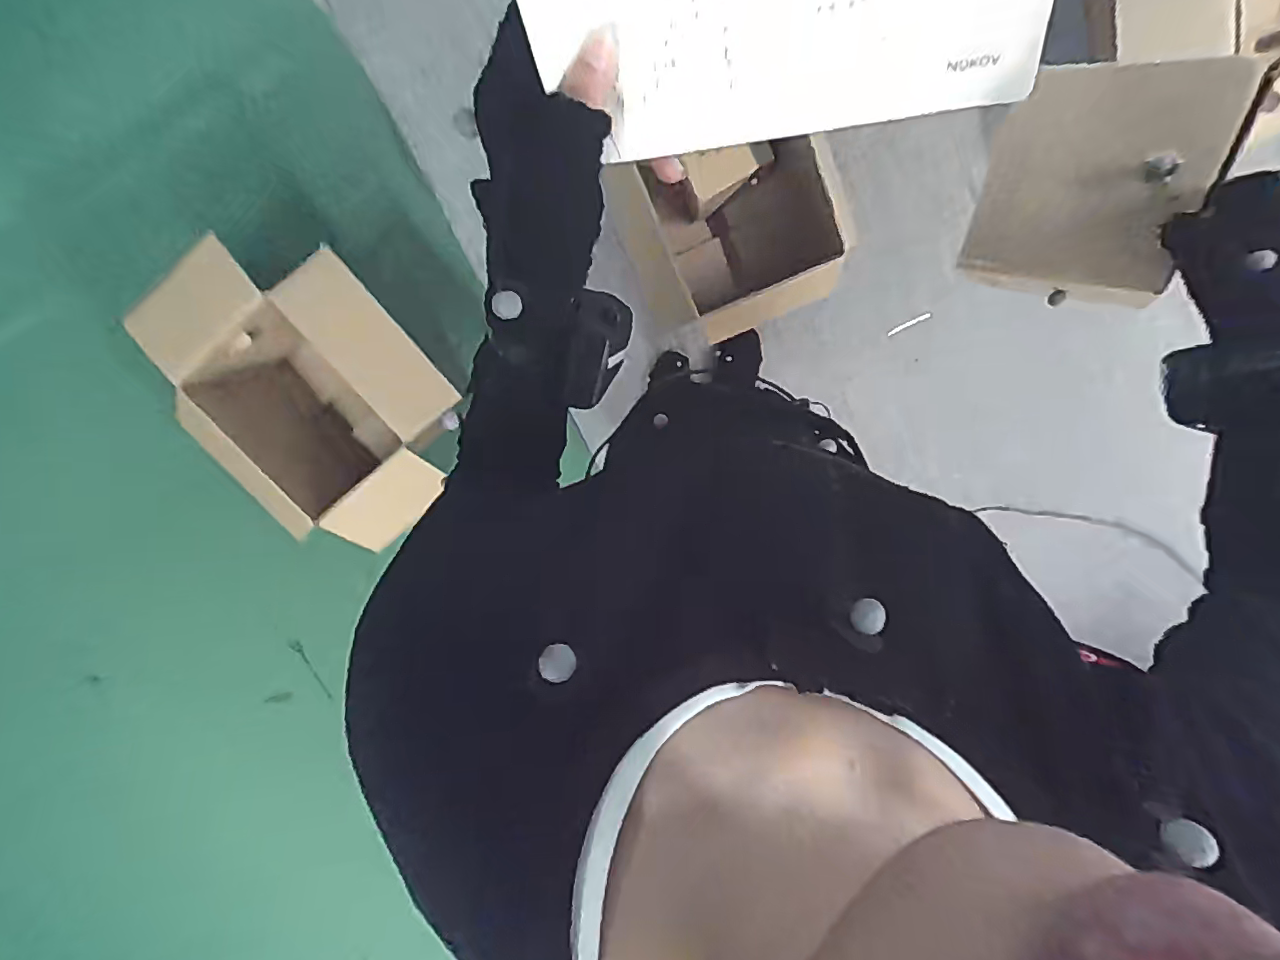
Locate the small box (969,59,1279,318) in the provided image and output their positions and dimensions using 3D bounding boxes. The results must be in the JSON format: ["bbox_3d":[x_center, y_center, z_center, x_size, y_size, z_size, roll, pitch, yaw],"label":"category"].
[{"bbox_3d":[0.446,-0.271,0.533,0.176,0.168,0.179,24,112,33],"label":"small box"}]
